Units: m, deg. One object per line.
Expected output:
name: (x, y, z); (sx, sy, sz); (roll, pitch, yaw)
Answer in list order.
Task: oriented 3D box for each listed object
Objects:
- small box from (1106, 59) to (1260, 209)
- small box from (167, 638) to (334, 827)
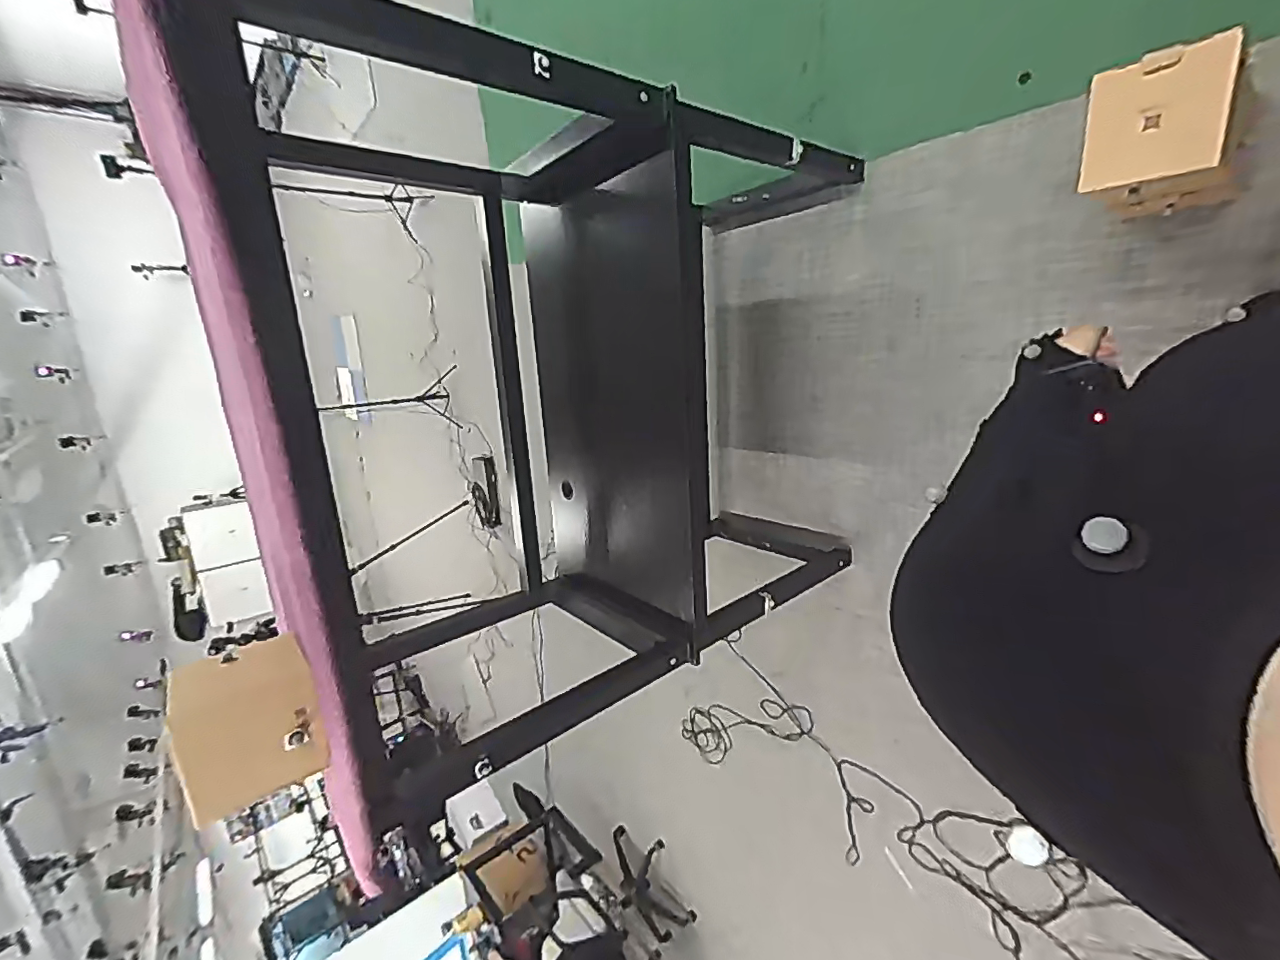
small box: (0.960, -0.593, 0.958); (0.168, 0.176, 0.179); (10, 110, 50)
small box: (-0.578, 0.358, 0.812); (0.179, 0.176, 0.168); (6, 108, 49)
